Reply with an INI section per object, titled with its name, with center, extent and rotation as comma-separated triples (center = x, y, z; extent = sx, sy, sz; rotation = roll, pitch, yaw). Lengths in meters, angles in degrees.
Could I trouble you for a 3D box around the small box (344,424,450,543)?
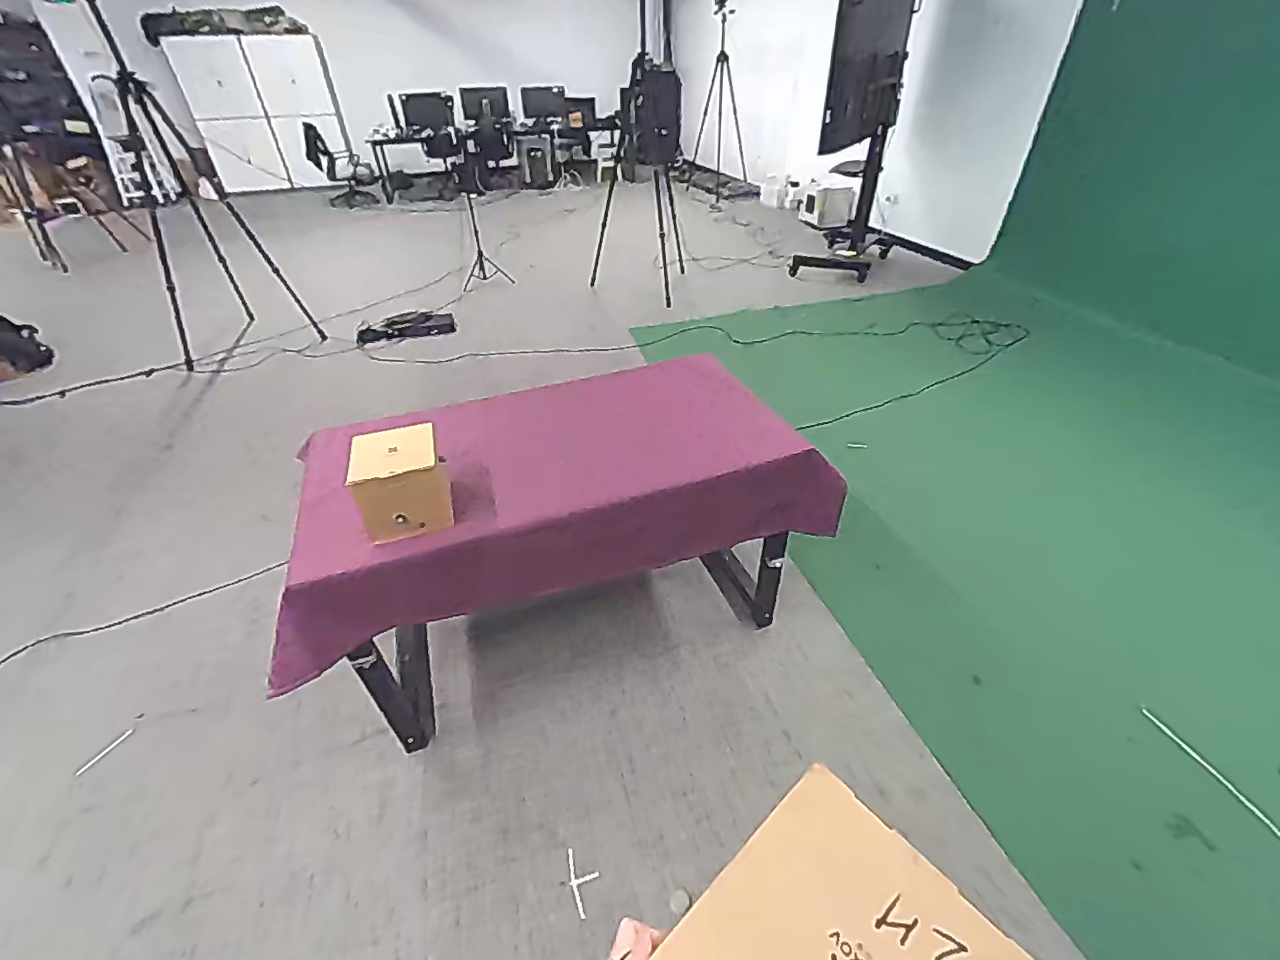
[small box]
center = -0.514, 0.005, 1.162
extent = 0.168, 0.176, 0.179
rotation = -13, 40, -15
